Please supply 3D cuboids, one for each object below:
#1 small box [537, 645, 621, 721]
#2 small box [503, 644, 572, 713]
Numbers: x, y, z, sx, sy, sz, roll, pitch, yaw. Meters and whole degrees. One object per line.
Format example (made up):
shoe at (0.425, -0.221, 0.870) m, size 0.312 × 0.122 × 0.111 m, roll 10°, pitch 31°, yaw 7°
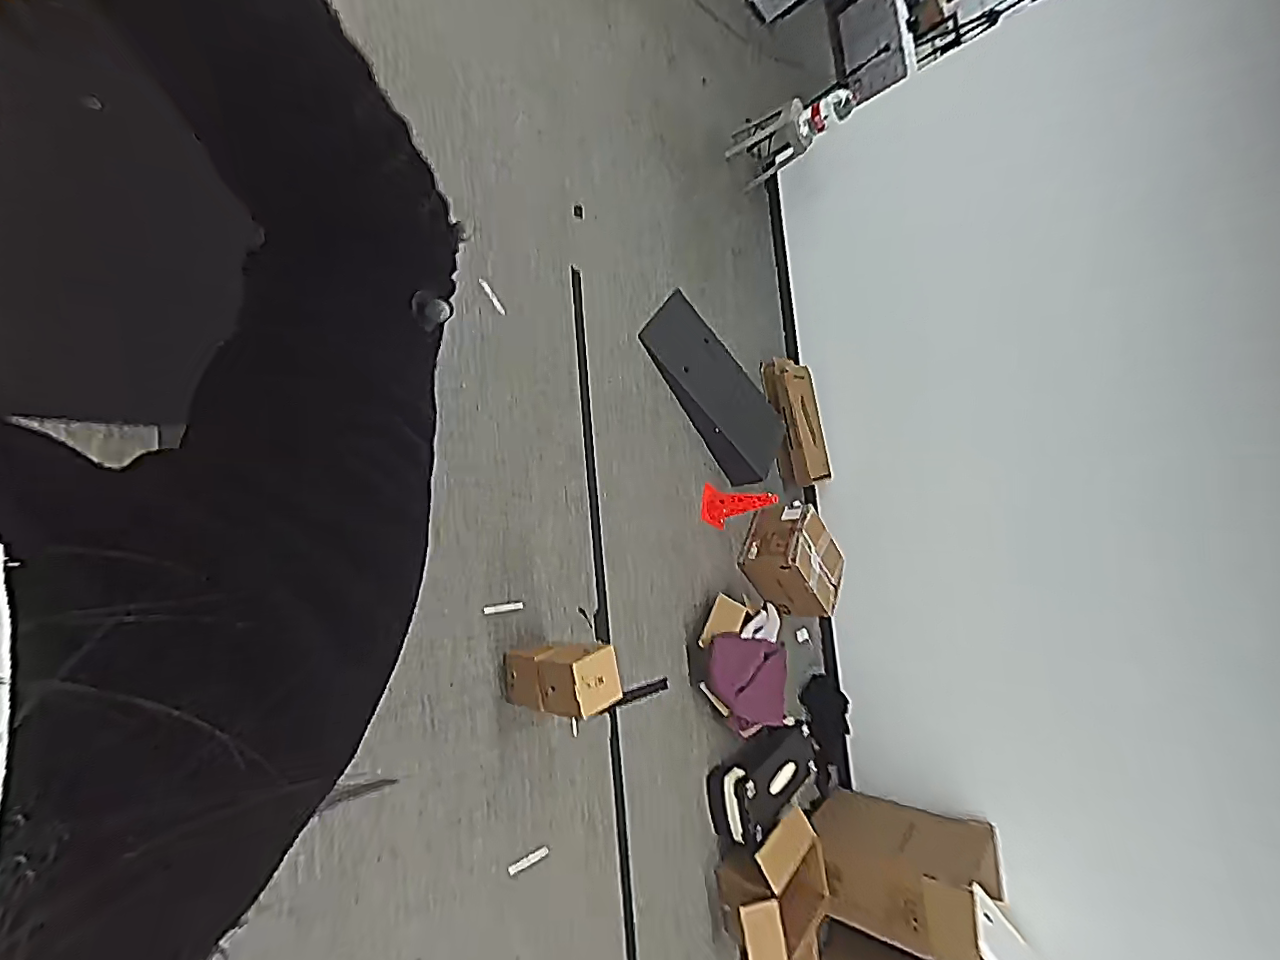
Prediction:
small box at (-0.189, 0.613, 1.657) m, size 0.179 × 0.176 × 0.168 m, roll -9°, pitch 87°, yaw -49°
small box at (-0.320, 0.635, 1.756) m, size 0.179 × 0.176 × 0.168 m, roll -2°, pitch 82°, yaw -48°
